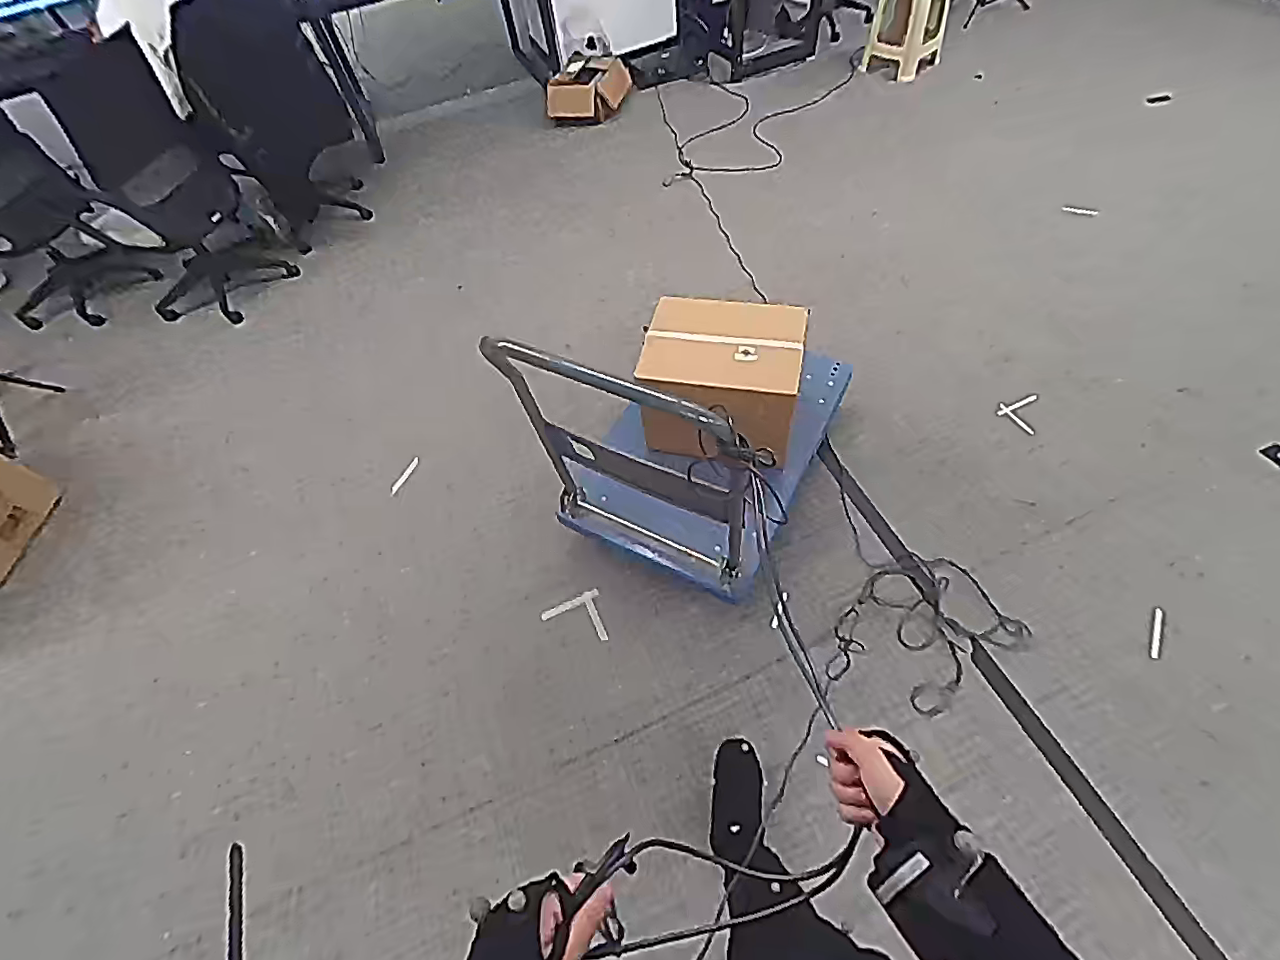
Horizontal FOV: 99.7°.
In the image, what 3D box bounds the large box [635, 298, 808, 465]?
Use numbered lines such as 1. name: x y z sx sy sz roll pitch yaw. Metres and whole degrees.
1. large box: 0.225 -0.270 1.498 0.408 0.320 0.320 9 60 13
